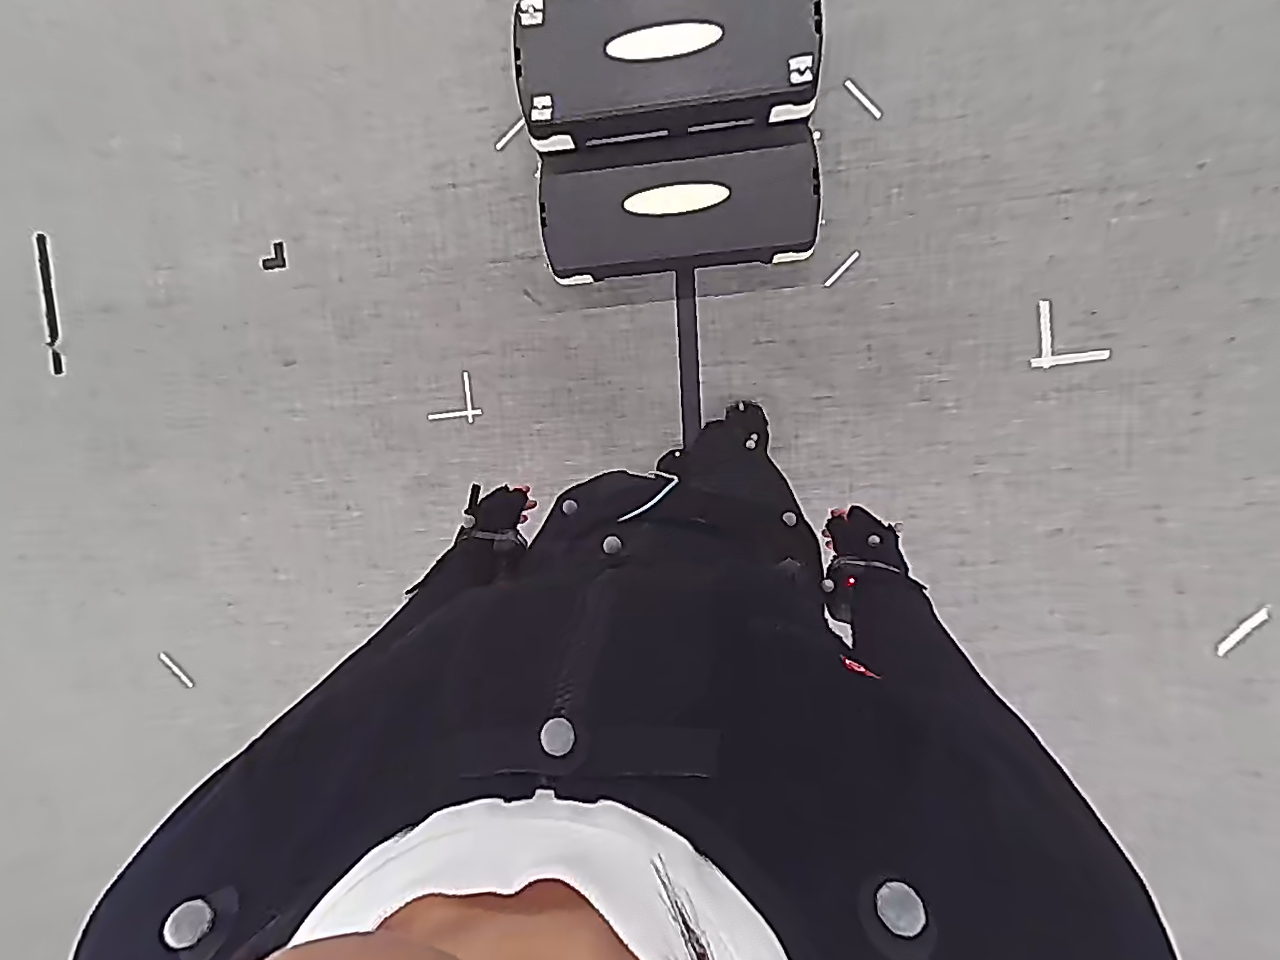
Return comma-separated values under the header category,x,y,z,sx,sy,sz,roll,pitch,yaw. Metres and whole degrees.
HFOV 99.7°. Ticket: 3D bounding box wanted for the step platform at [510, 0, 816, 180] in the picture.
category,x,y,z,sx,sy,sz,roll,pitch,yaw
step platform,0.049,-0.921,1.250,0.684,0.204,0.286,-5,96,6
